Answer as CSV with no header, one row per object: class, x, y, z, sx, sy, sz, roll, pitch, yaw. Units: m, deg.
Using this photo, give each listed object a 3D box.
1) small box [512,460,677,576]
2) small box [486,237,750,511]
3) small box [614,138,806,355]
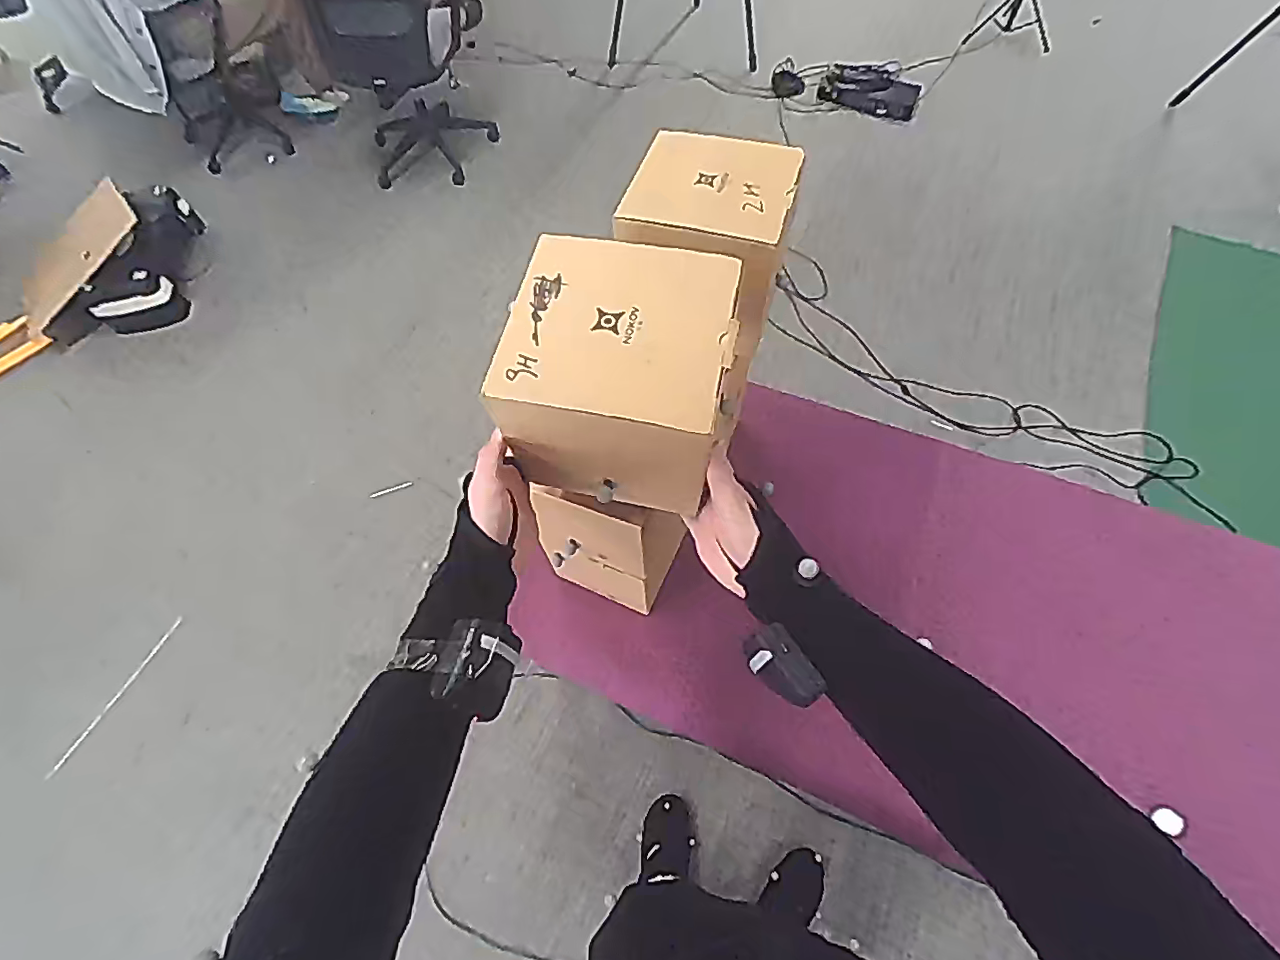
small box,-0.037,-0.002,0.699,0.168,0.176,0.179,19,64,13
small box,-0.011,-0.084,0.491,0.179,0.176,0.168,11,66,6
small box,0.083,-0.277,0.657,0.179,0.176,0.168,16,63,11
